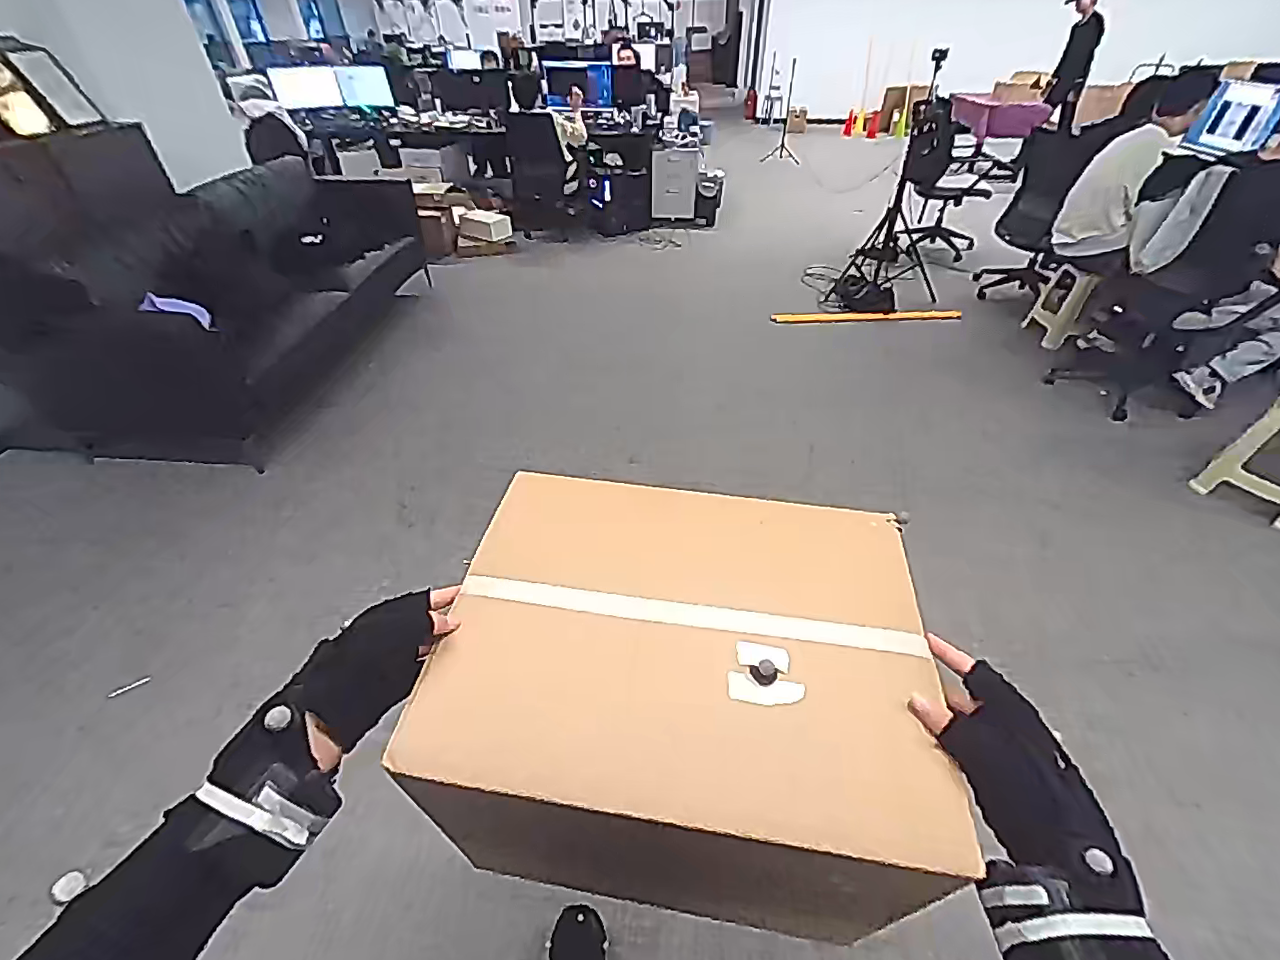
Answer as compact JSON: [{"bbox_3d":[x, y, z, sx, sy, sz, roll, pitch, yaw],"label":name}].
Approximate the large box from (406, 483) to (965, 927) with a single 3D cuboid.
[{"bbox_3d":[0.041,0.232,0.585,0.408,0.320,0.320,6,44,6],"label":"large box"}]
